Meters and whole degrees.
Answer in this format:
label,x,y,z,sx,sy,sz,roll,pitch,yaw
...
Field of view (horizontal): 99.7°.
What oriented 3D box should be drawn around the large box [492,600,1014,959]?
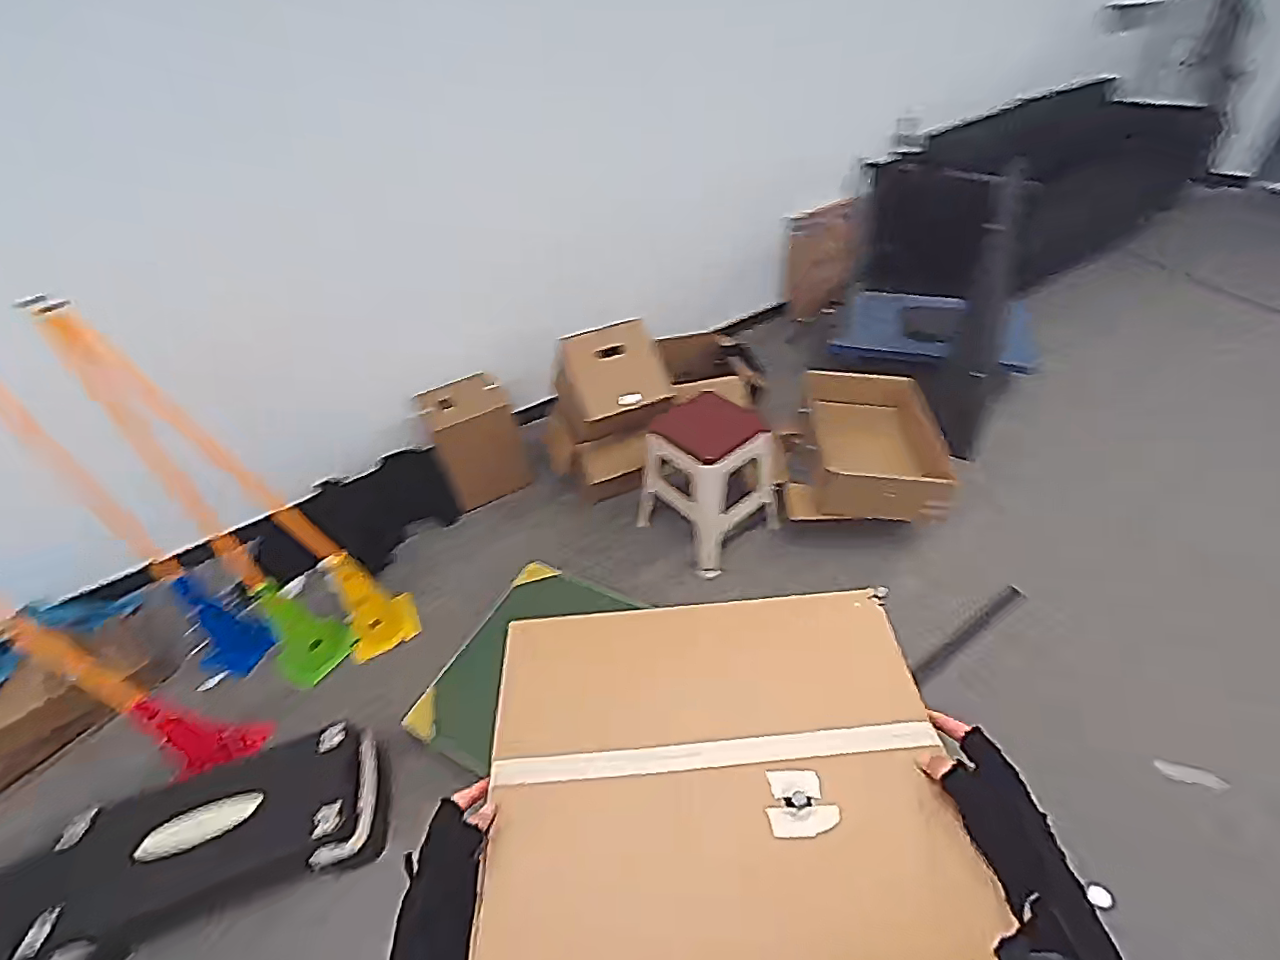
label,x,y,z,sx,sy,sz,roll,pitch,yaw
large box,0.085,0.365,0.611,0.408,0.320,0.320,-5,46,2
